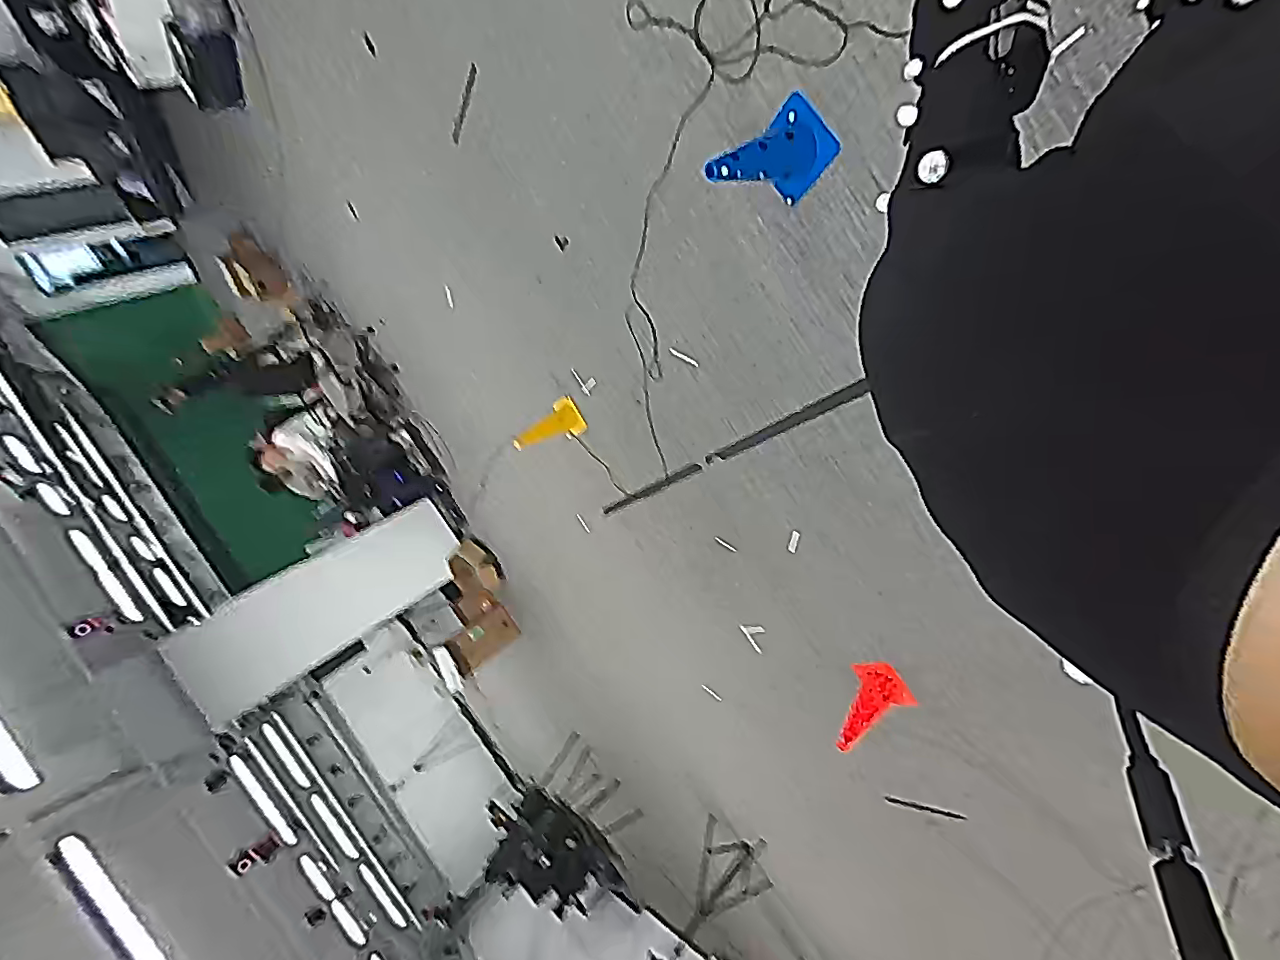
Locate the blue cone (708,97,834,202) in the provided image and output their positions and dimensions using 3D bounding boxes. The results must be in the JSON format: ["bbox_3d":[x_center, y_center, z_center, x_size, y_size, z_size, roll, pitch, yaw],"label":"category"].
[{"bbox_3d":[0.291,-0.795,1.344,0.192,0.380,0.193,54,147,2],"label":"blue cone"}]

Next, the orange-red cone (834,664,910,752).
[{"bbox_3d":[0.859,0.915,2.110,0.198,0.360,0.199,54,146,1],"label":"orange-red cone"}]
